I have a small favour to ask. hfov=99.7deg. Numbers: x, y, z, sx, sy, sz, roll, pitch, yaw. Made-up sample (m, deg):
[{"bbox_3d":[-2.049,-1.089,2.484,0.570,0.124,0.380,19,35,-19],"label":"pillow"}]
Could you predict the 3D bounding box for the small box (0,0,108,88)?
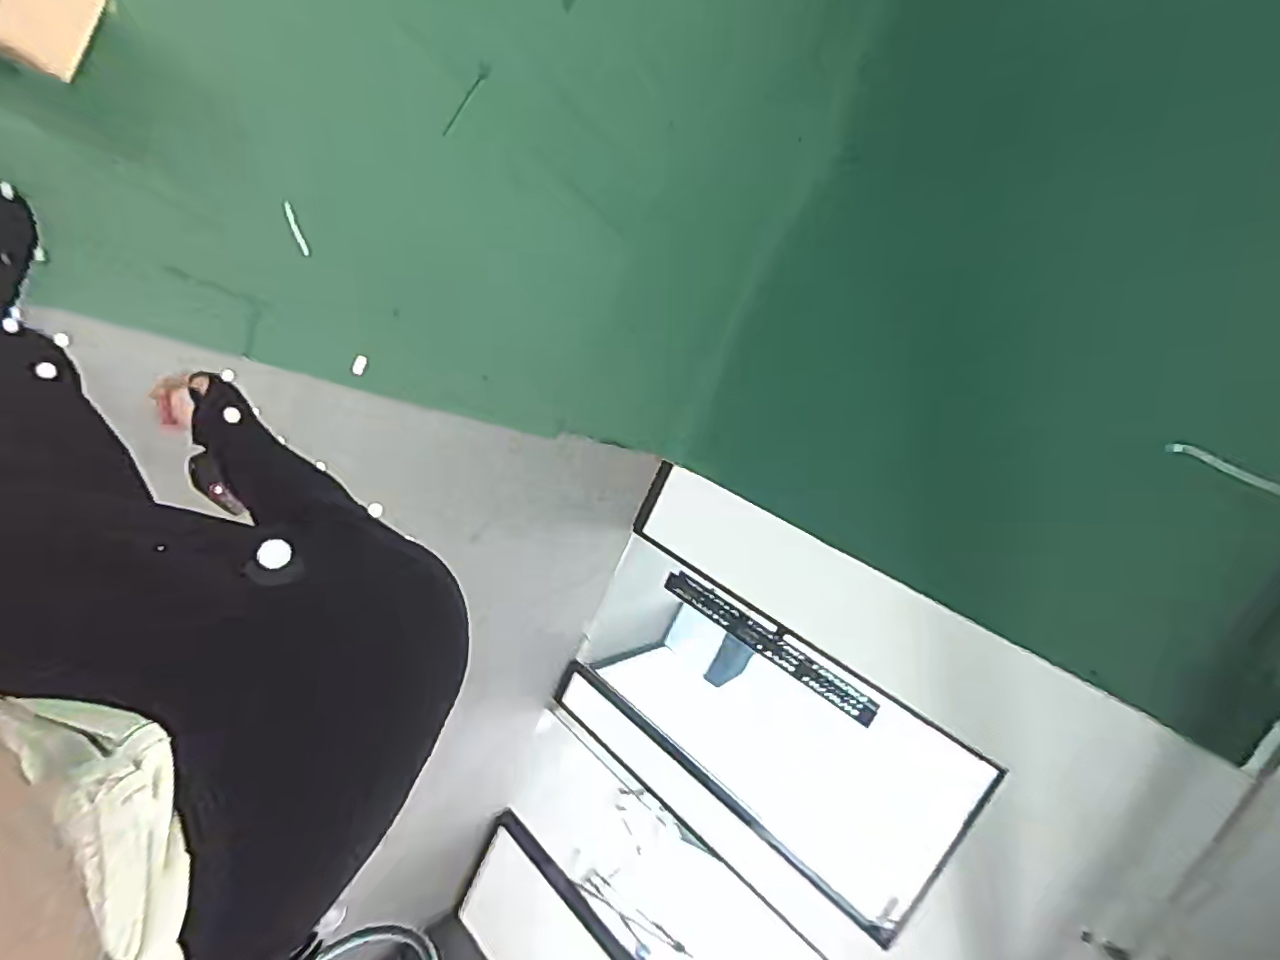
[{"bbox_3d":[-0.854,-0.669,0.716,0.179,0.176,0.168,-62,149,3],"label":"small box"}]
